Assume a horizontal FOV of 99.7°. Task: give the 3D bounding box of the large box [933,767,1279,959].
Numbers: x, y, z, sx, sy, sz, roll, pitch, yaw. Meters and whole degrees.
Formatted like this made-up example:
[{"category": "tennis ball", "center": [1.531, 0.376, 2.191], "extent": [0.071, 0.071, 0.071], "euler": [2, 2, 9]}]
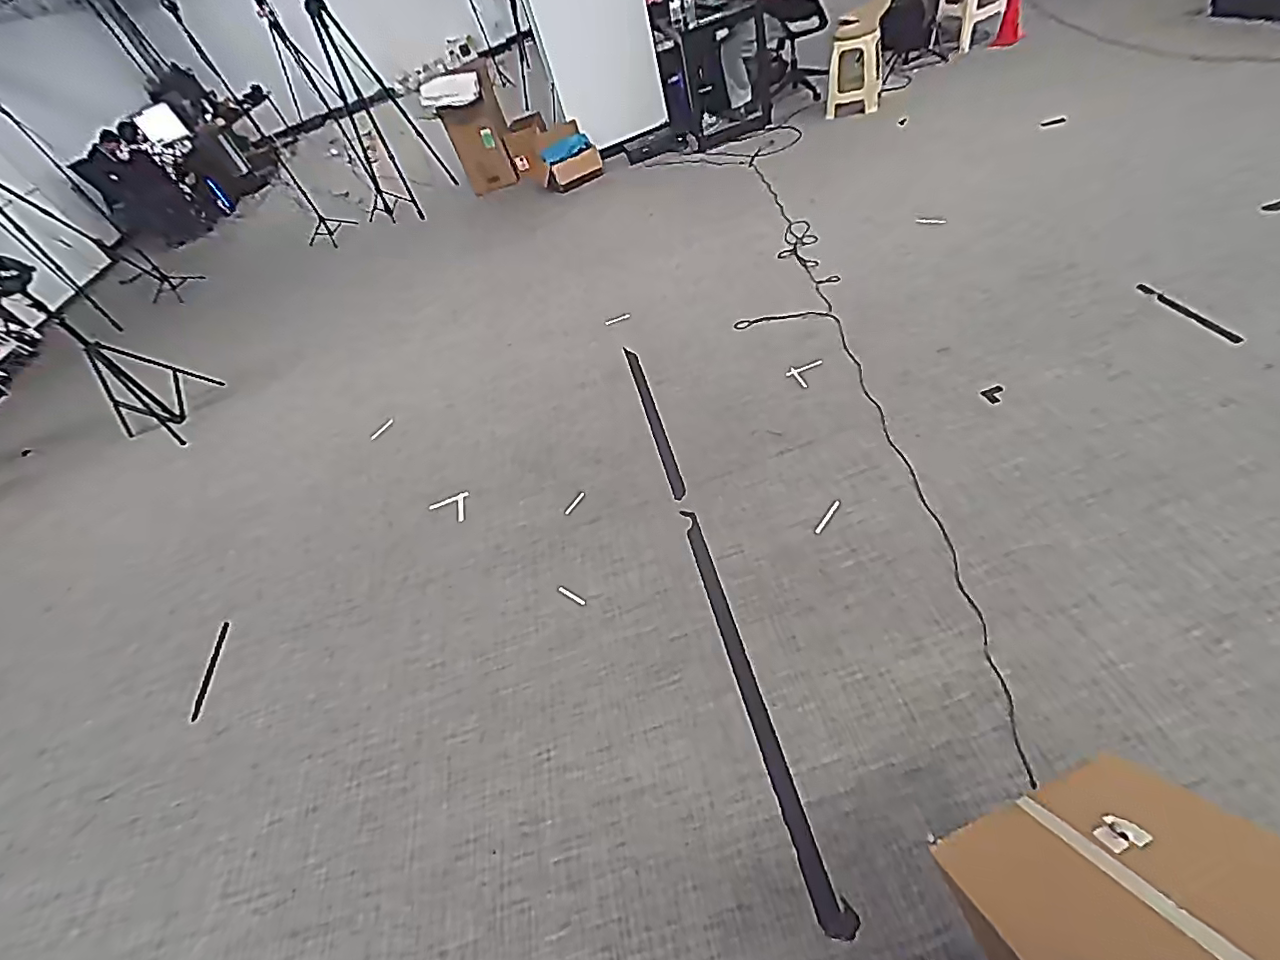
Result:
[{"category": "large box", "center": [0.636, 0.610, 0.601], "extent": [0.320, 0.408, 0.320], "euler": [-25, 83, -1]}]
